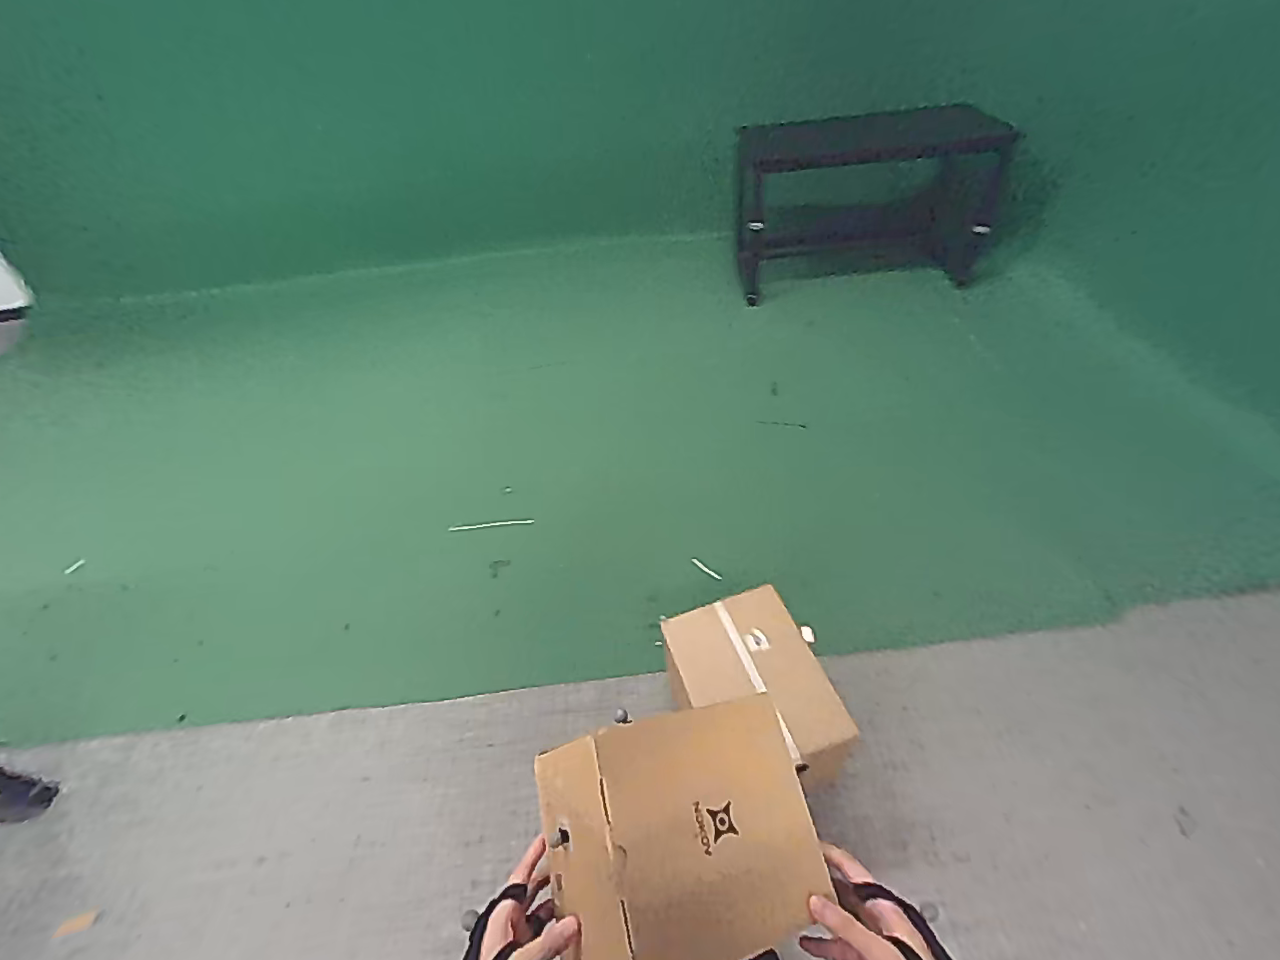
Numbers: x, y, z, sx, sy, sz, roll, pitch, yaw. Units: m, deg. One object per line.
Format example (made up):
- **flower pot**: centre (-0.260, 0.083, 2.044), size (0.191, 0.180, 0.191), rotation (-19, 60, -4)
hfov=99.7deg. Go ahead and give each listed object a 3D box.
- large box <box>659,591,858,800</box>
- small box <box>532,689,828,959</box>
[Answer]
- **large box**: centre (0.268, 0.560, 1.341), size (0.320, 0.320, 0.408), rotation (-15, 44, -10)
- **small box**: centre (0.020, 0.297, 0.474), size (0.179, 0.176, 0.168), rotation (-1, 60, -28)
